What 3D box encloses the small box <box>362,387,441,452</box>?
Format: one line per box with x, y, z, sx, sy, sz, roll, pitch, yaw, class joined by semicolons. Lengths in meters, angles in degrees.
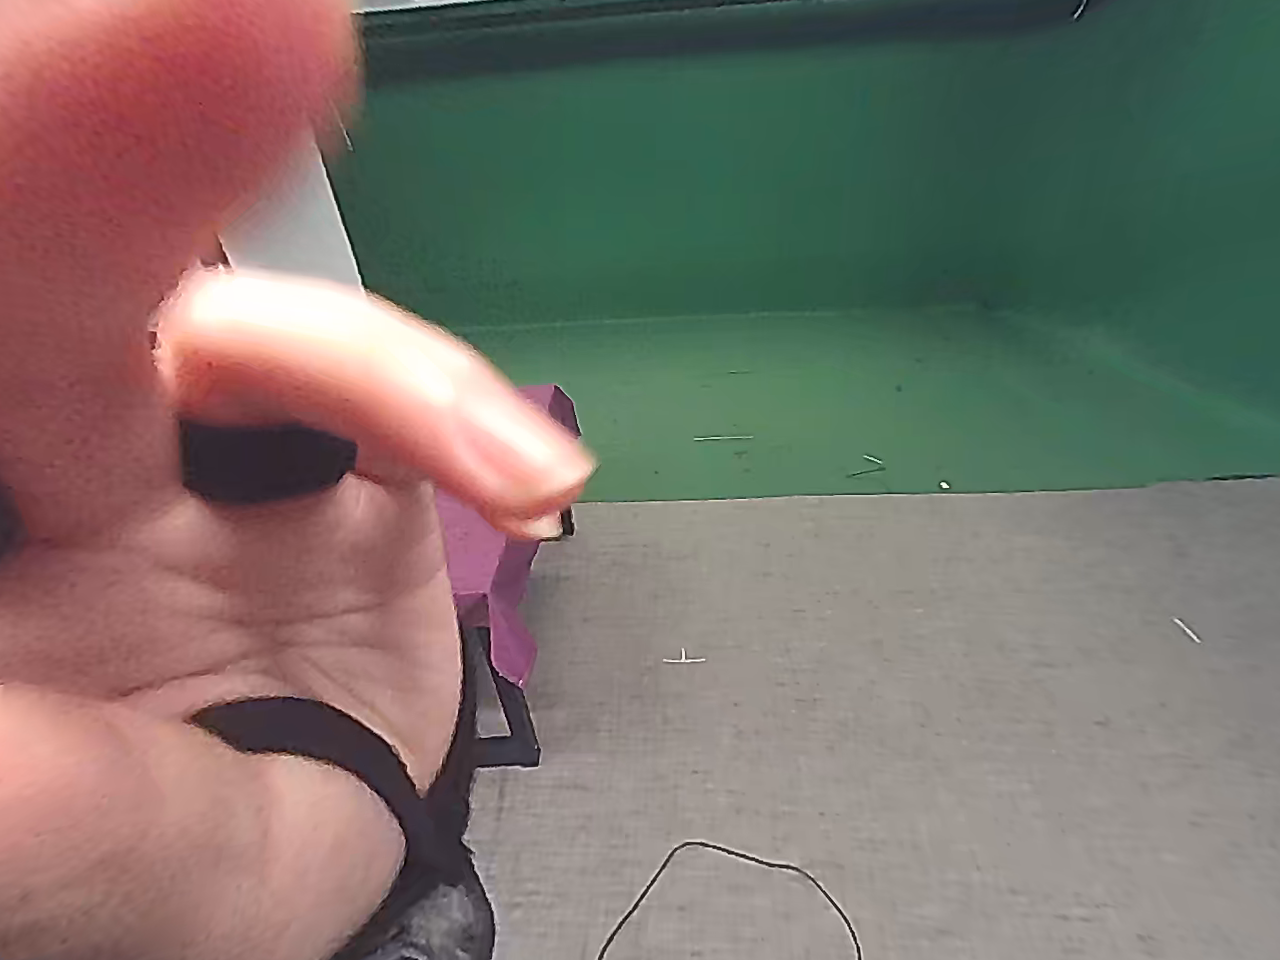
-0.808;-0.205;1.850;0.179;0.176;0.168;-2;32;1;small box

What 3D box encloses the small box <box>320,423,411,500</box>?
-0.805;-0.057;1.610;0.168;0.176;0.179;-2;33;3;small box
